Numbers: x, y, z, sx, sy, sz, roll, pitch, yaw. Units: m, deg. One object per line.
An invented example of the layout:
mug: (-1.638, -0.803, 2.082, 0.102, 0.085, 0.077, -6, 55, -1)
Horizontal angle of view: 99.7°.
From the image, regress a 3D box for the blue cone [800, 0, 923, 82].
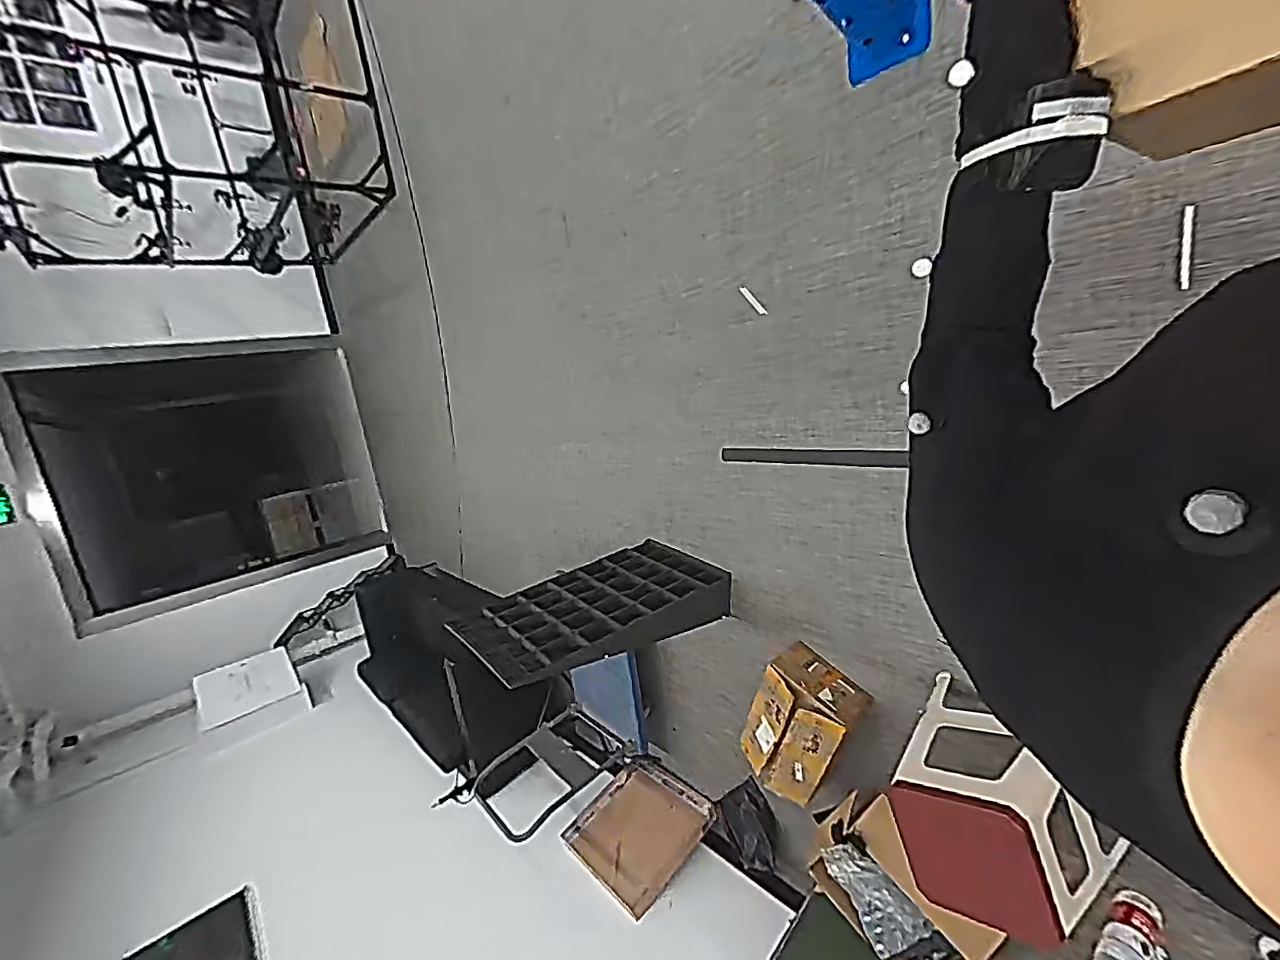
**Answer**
blue cone: (0.462, -1.063, 1.207, 0.192, 0.380, 0.193, 10, 112, 49)

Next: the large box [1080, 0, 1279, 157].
large box: (0.516, -0.432, 0.287, 0.408, 0.320, 0.320, 3, 108, 50)
